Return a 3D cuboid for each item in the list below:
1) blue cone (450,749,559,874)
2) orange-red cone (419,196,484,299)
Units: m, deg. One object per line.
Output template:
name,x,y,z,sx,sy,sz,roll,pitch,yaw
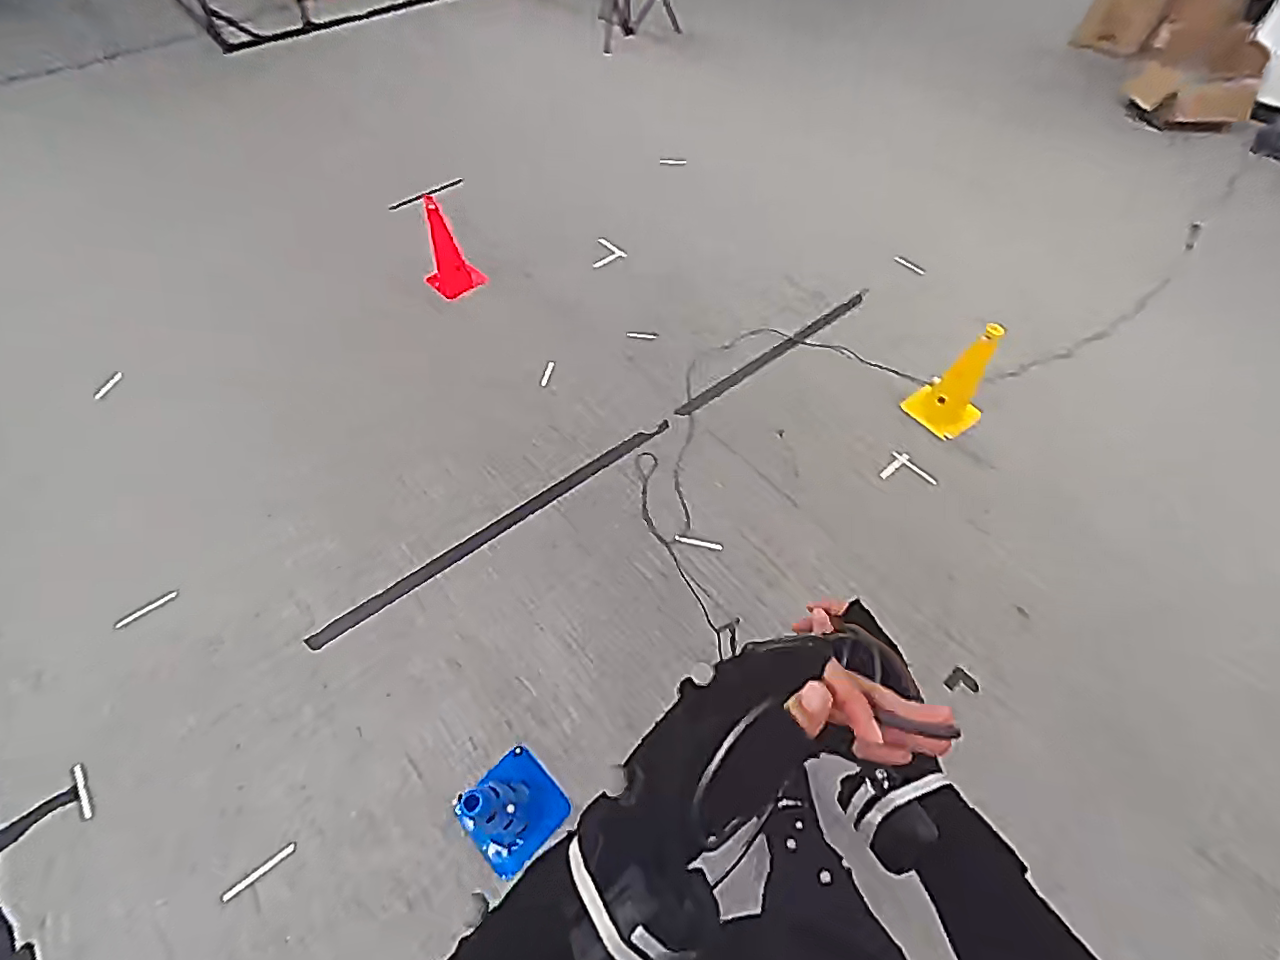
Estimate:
blue cone,-0.299,0.650,1.076,0.193,0.380,0.192,-39,64,-22
orange-red cone,-0.785,-0.931,2.123,0.199,0.360,0.198,-39,64,-20
